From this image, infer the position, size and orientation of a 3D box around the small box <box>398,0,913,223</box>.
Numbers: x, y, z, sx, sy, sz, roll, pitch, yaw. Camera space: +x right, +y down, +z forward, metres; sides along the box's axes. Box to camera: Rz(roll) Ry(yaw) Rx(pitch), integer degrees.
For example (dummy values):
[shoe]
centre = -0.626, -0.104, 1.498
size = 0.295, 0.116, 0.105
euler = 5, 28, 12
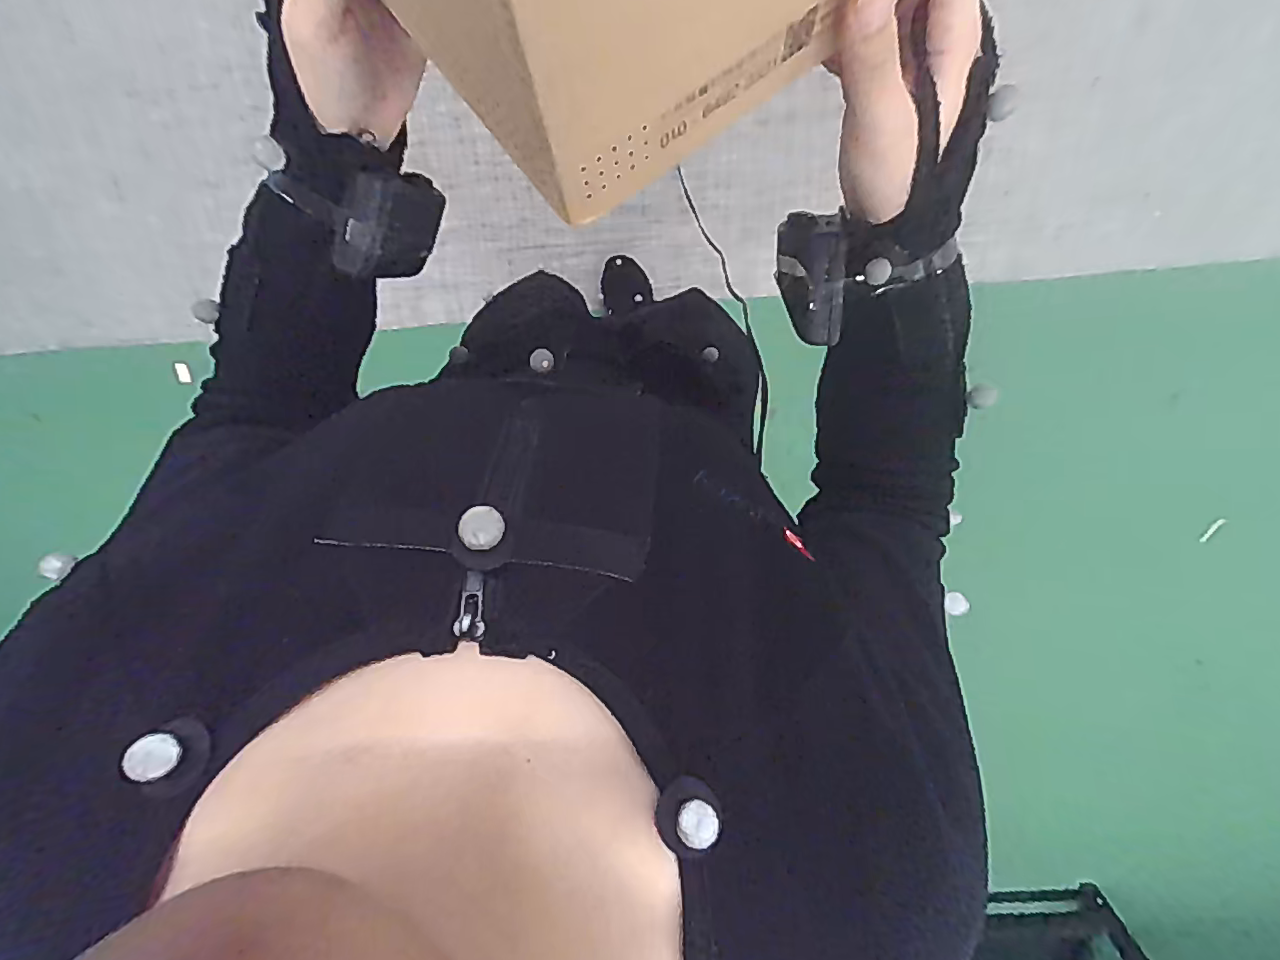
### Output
[small box]
centre = -0.007, -0.223, 0.158
size = 0.168, 0.176, 0.179
euler = -38, 79, -3
